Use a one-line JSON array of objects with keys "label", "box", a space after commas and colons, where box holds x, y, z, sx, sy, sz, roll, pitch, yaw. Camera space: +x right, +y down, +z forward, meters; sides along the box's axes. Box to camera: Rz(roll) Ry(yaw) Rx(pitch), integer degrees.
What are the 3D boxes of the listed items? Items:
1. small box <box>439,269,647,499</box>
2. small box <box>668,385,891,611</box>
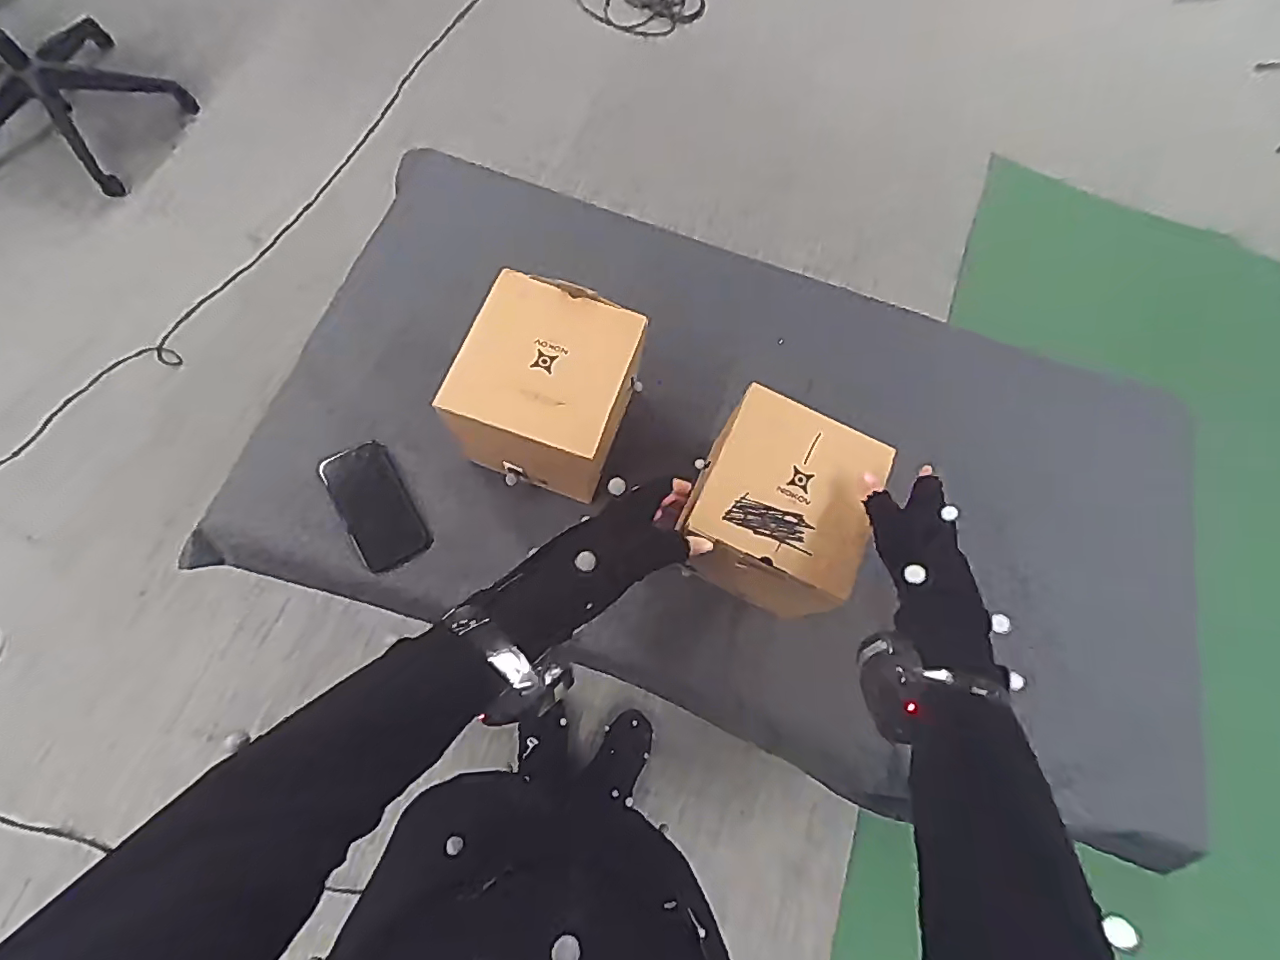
[{"label": "small box", "box": [-0.102, -0.099, 0.624, 0.168, 0.176, 0.179, 19, 72, 1]}, {"label": "small box", "box": [0.141, 0.033, 0.607, 0.168, 0.176, 0.179, 26, 70, 3]}]
